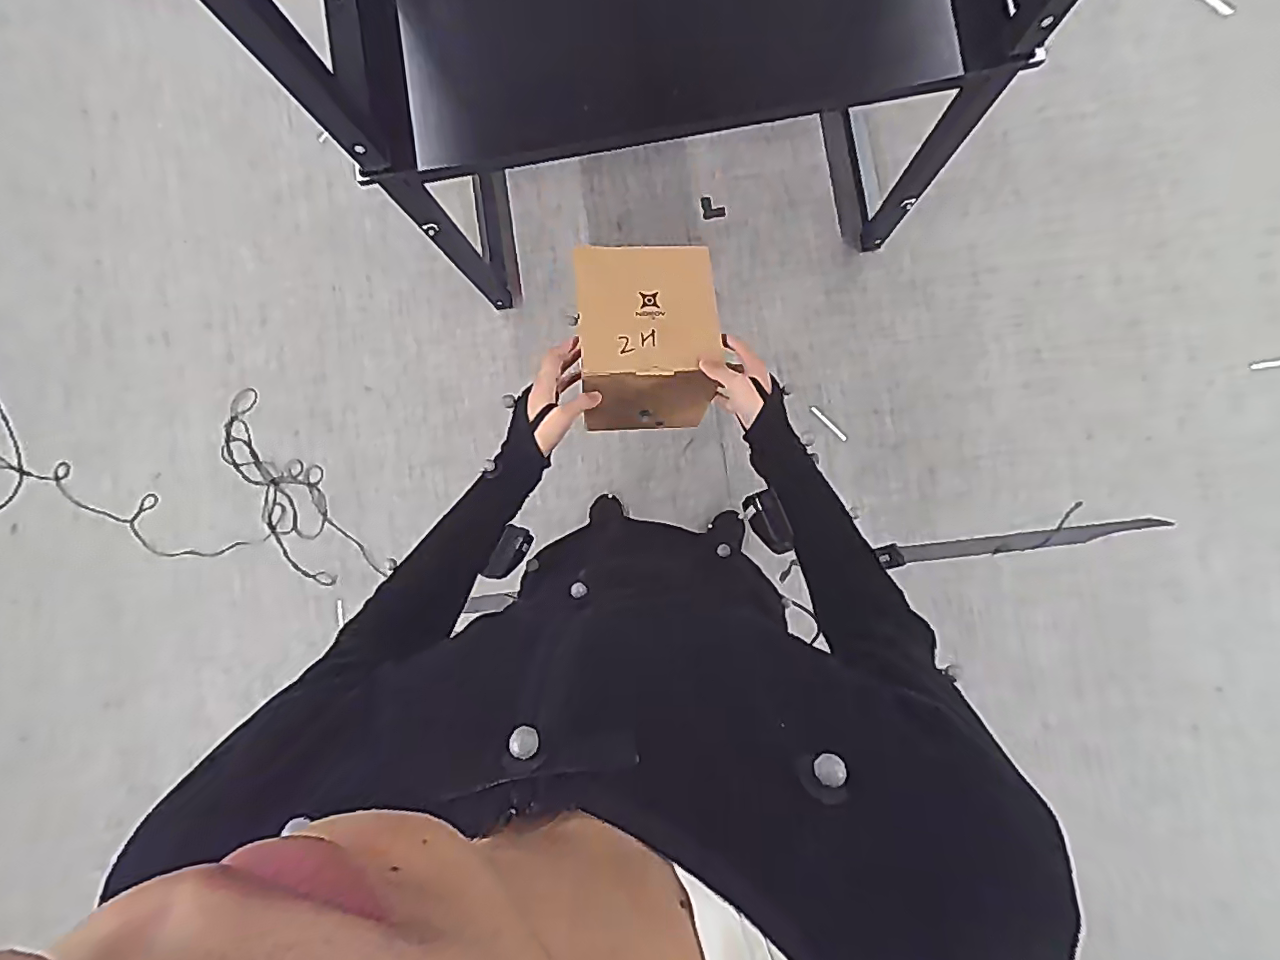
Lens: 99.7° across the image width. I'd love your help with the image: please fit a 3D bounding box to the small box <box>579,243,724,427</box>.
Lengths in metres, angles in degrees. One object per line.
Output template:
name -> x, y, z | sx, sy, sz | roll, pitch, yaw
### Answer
small box -> 0.004, -0.182, 0.712 | 0.168, 0.176, 0.179 | -2, 73, -5
